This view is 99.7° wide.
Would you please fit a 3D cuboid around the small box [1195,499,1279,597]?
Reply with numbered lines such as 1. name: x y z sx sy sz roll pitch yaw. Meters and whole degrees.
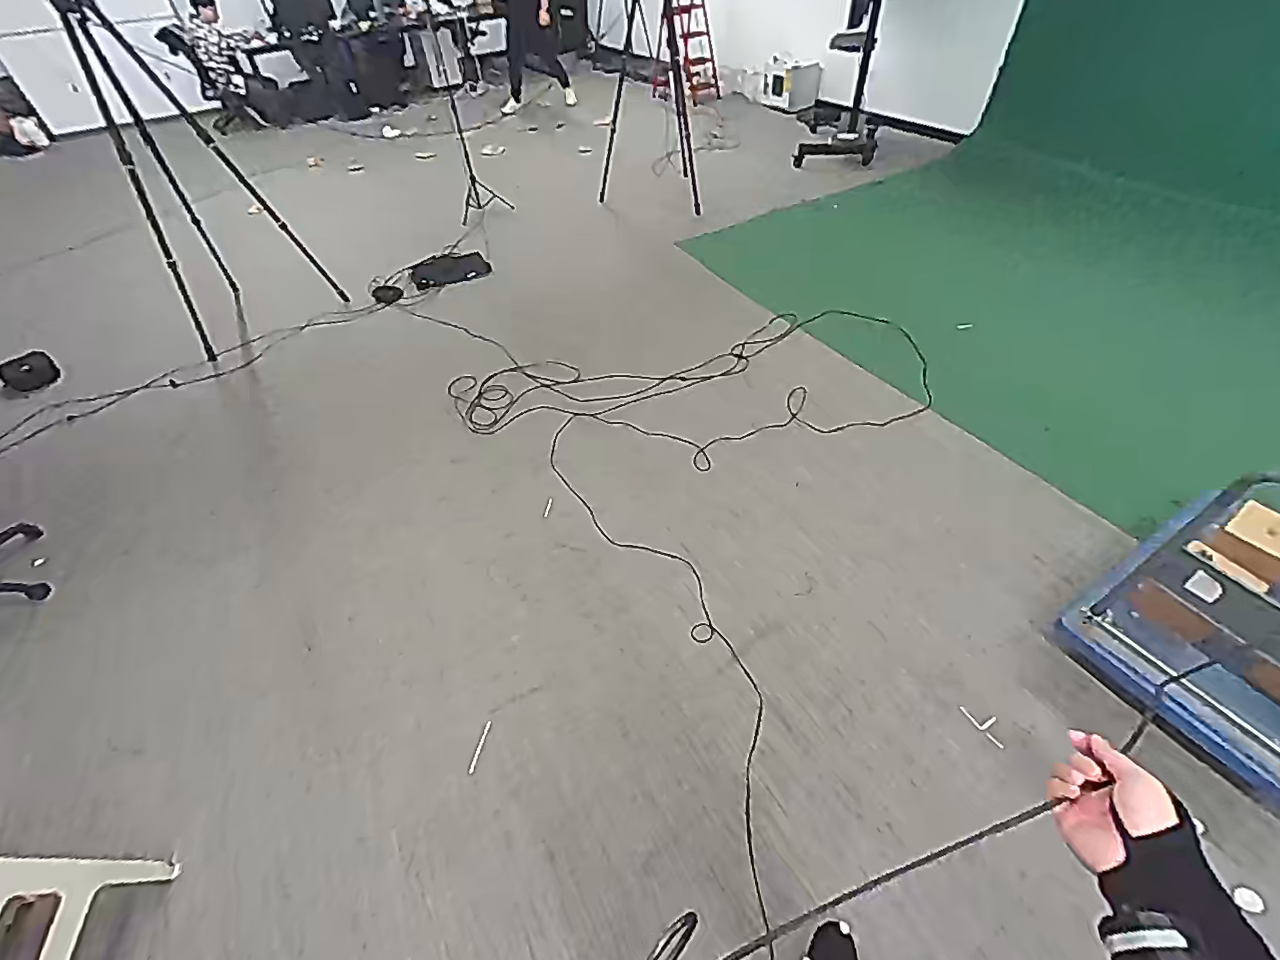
1. small box: 1.730 0.194 1.517 0.179 0.176 0.168 -30 52 -21

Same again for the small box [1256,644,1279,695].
1. small box: 1.652 0.452 1.285 0.179 0.176 0.168 -27 50 -18
